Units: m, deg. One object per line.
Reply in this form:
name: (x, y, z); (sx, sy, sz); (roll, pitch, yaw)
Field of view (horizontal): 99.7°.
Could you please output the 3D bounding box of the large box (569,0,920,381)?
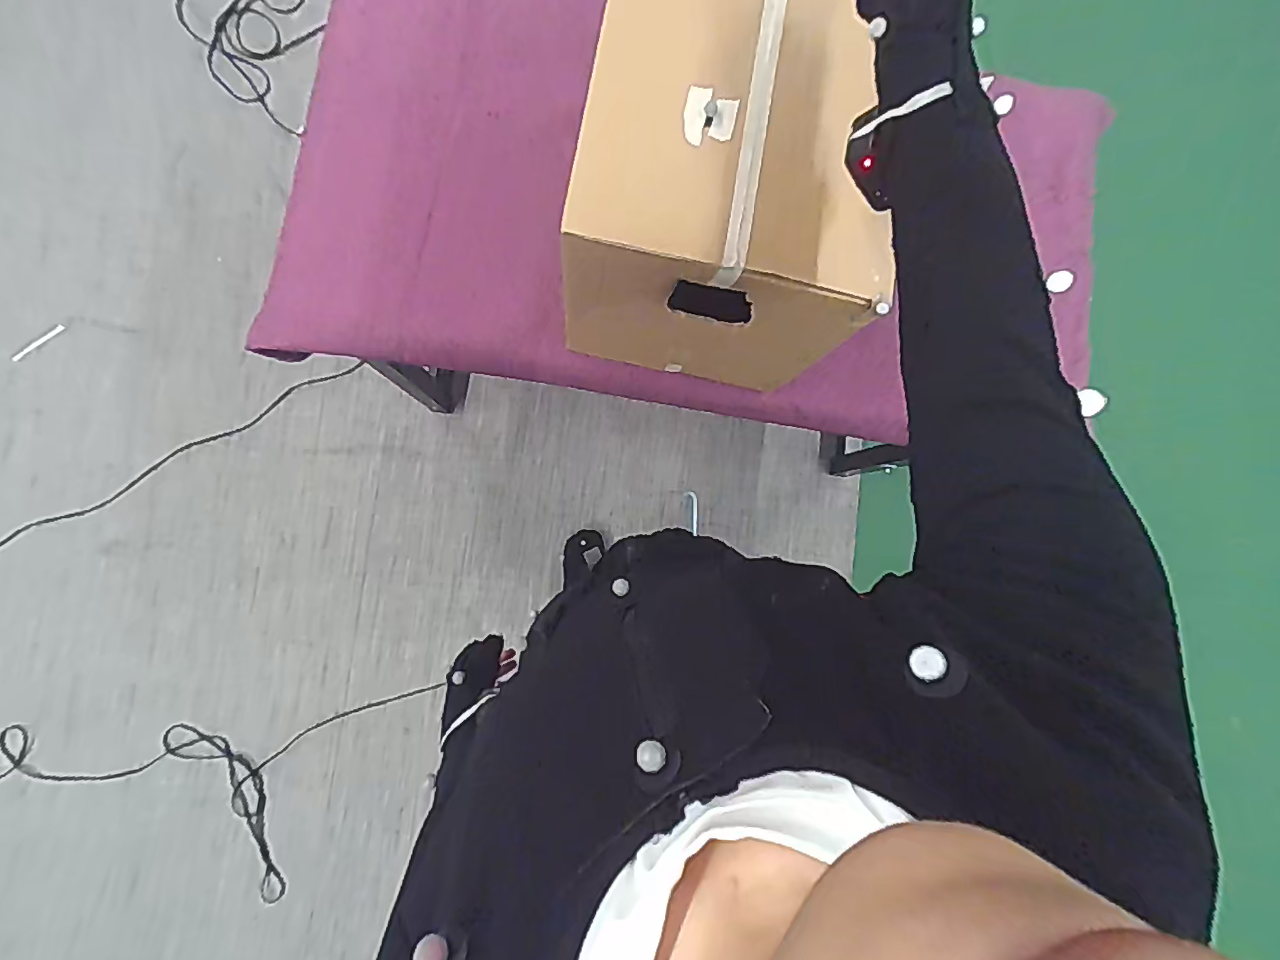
large box: (0.097, -0.379, 0.671); (0.320, 0.320, 0.408); (11, 84, -5)
